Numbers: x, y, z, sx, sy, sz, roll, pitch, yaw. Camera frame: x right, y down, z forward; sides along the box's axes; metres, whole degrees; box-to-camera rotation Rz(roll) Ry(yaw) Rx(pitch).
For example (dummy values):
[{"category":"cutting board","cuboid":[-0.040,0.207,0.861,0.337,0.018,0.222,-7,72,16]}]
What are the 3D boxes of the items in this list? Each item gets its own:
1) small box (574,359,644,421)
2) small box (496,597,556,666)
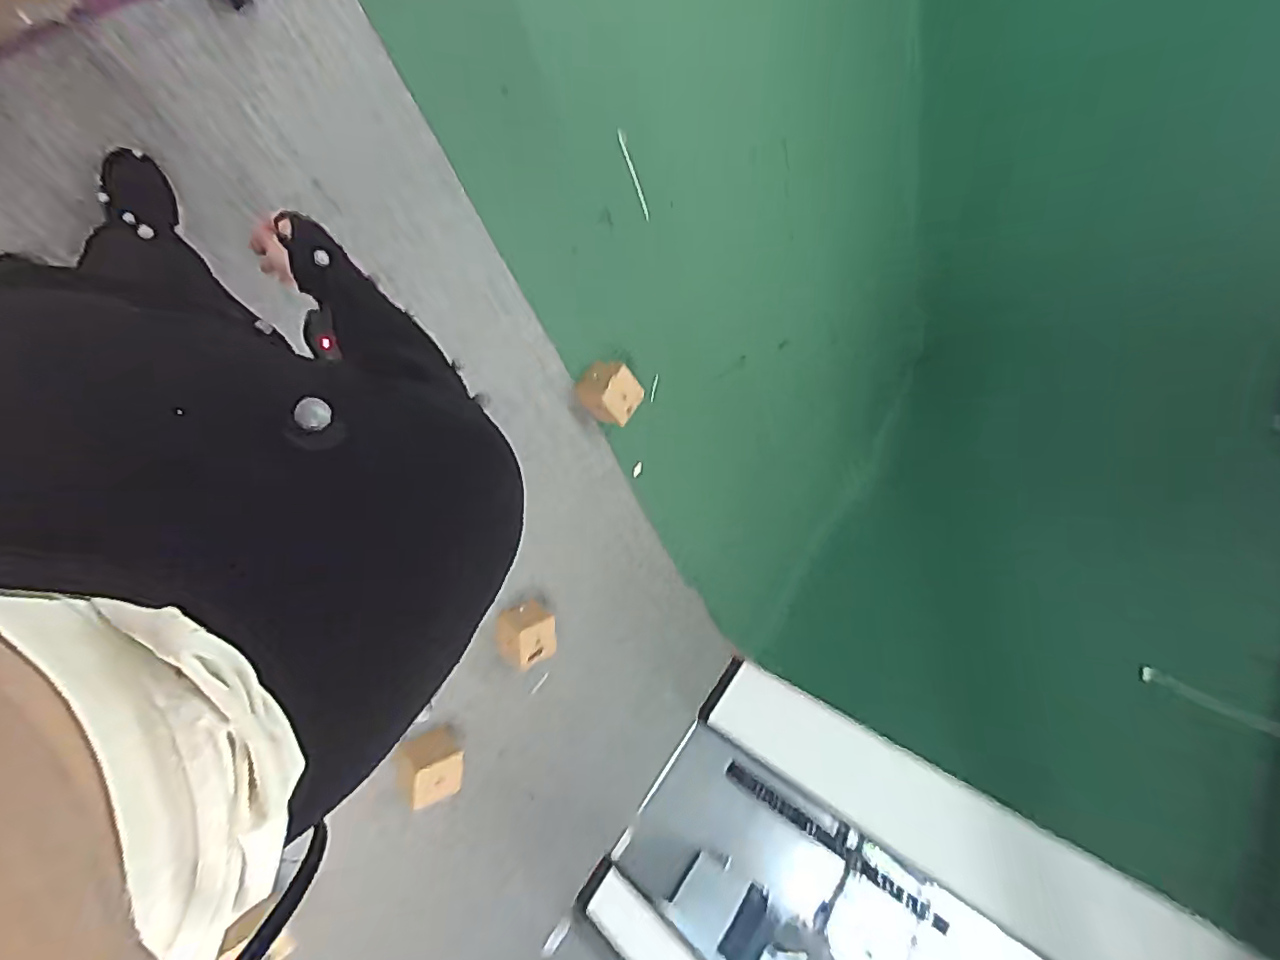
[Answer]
[{"category":"small box","cuboid":[-0.124,-0.353,2.098,0.168,0.176,0.179,-57,137,-14]},{"category":"small box","cuboid":[-0.449,0.591,2.129,0.168,0.176,0.179,-19,118,-42]}]
